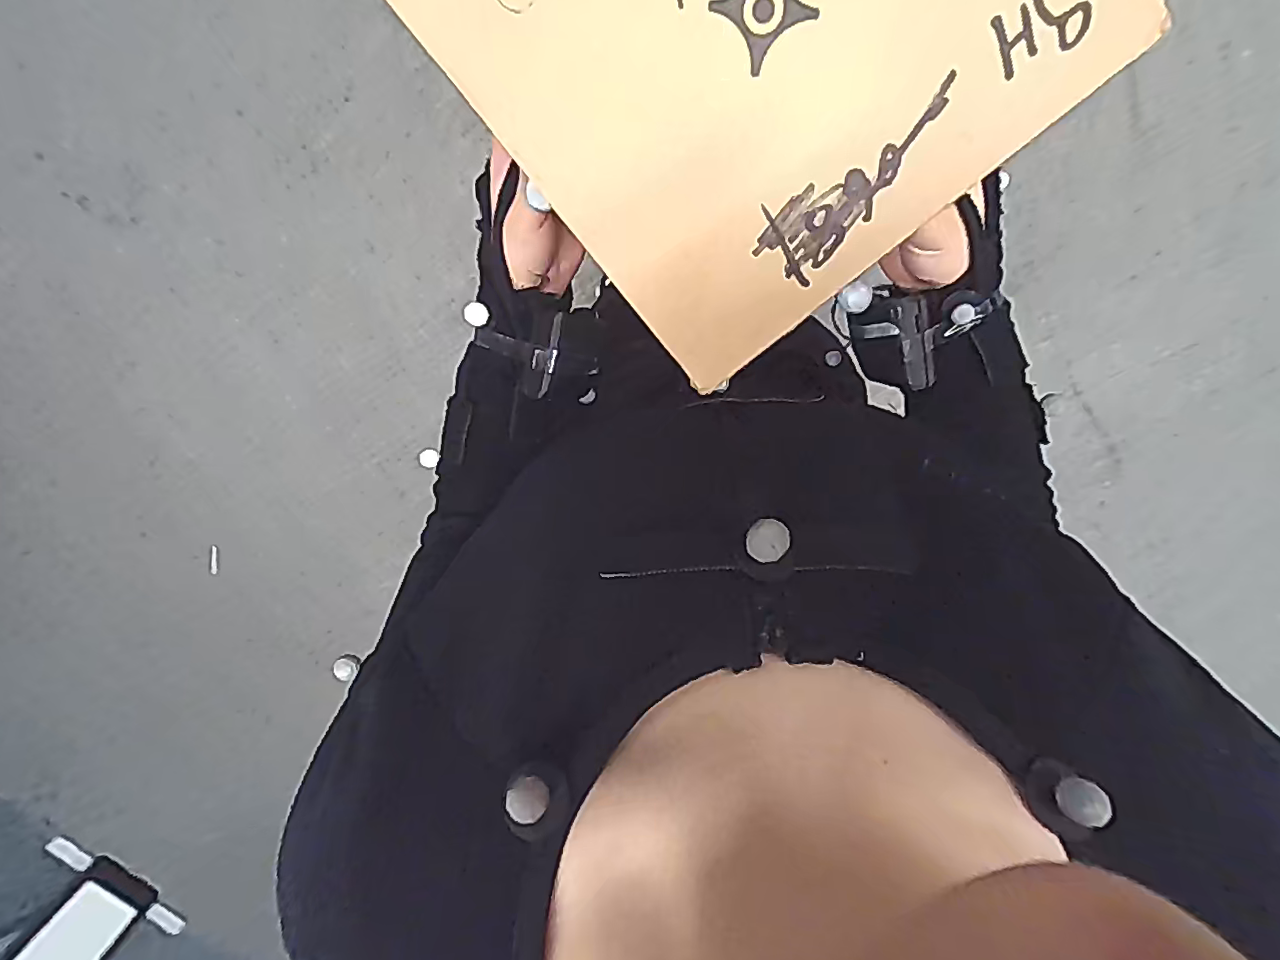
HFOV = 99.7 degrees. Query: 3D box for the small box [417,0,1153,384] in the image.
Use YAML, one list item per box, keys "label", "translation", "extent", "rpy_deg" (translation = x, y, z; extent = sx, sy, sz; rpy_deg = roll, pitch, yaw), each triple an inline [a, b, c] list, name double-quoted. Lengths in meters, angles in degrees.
- label: "small box"
  translation: [0.044, -0.170, 0.240]
  extent: [0.168, 0.176, 0.179]
  rpy_deg: [-37, 103, 16]
